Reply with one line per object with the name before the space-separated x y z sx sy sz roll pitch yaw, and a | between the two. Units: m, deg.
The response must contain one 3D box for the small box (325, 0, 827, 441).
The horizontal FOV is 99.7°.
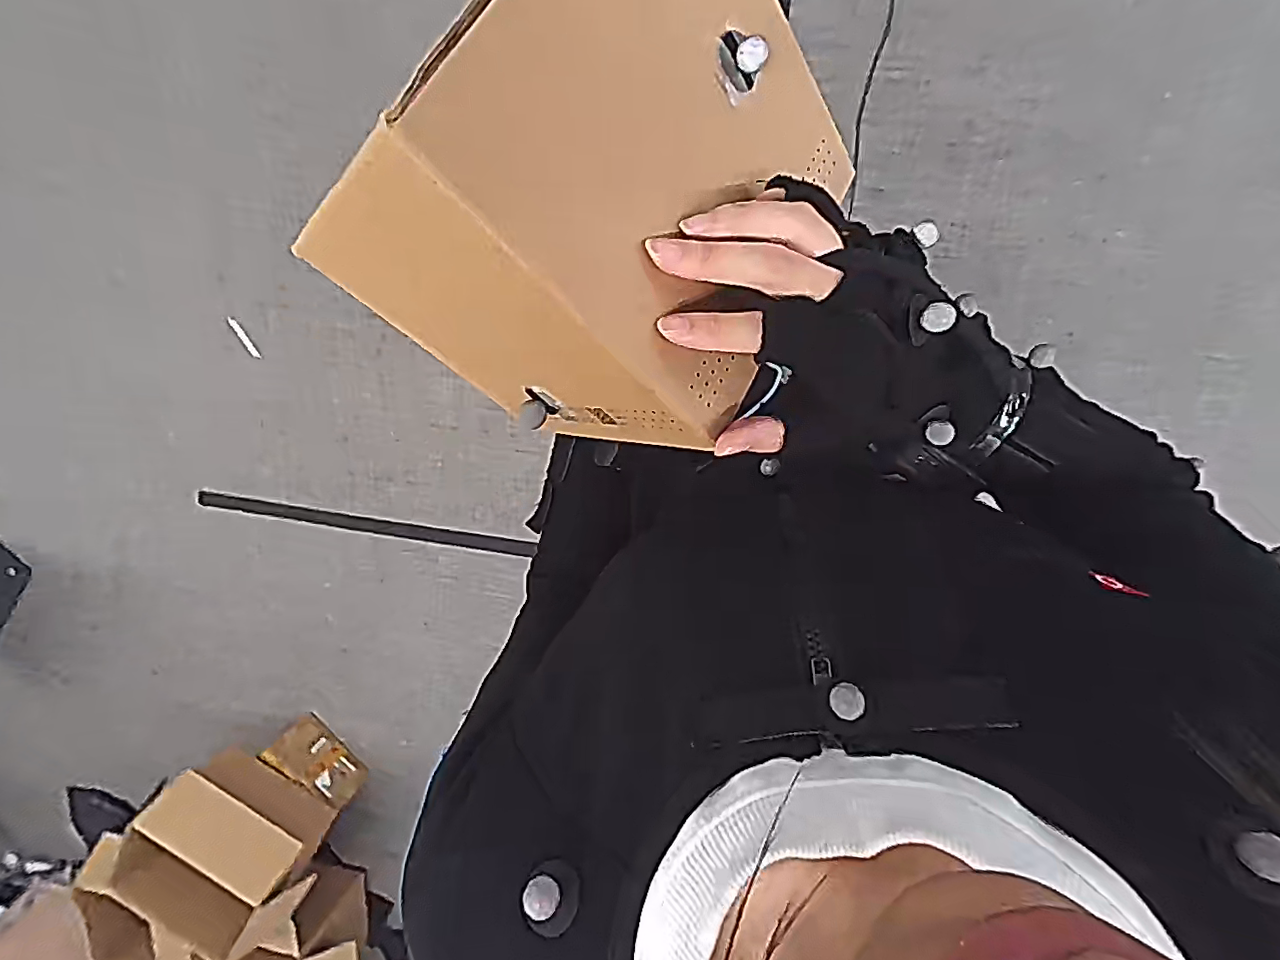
small box | -0.024 -0.144 0.291 0.176 0.168 0.179 40 72 -36
